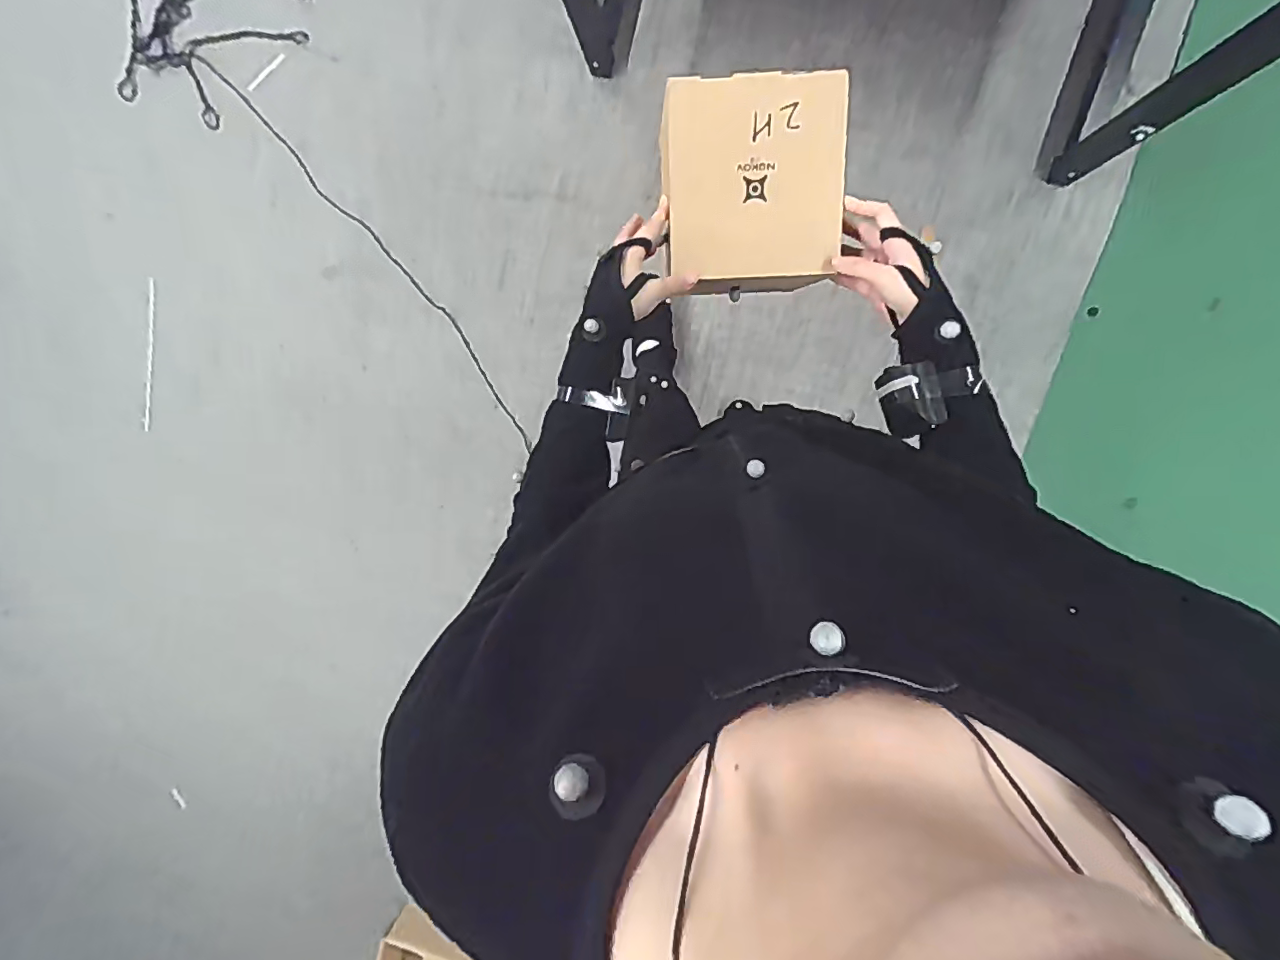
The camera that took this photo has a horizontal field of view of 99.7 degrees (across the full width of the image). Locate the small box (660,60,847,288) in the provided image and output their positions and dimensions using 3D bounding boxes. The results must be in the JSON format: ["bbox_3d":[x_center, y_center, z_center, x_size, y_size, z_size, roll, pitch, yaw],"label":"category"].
[{"bbox_3d":[0.105,-0.302,0.575,0.168,0.176,0.179,-2,103,2],"label":"small box"}]
